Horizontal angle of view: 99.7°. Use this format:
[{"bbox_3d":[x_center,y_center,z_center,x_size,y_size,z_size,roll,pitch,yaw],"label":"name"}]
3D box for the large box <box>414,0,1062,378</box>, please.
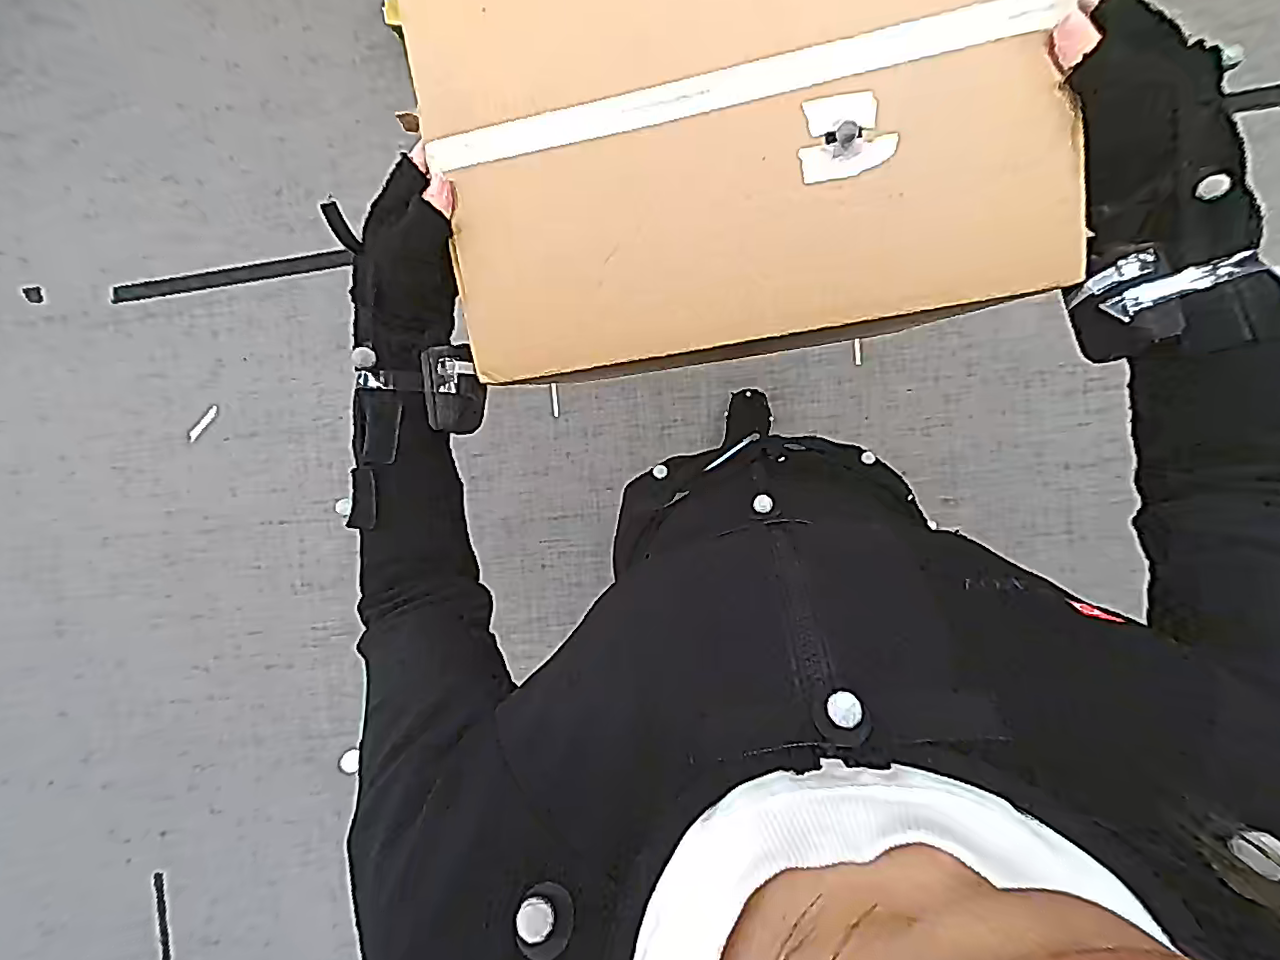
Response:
[{"bbox_3d":[0.071,-0.284,0.503,0.408,0.320,0.320,-9,100,7],"label":"large box"}]
